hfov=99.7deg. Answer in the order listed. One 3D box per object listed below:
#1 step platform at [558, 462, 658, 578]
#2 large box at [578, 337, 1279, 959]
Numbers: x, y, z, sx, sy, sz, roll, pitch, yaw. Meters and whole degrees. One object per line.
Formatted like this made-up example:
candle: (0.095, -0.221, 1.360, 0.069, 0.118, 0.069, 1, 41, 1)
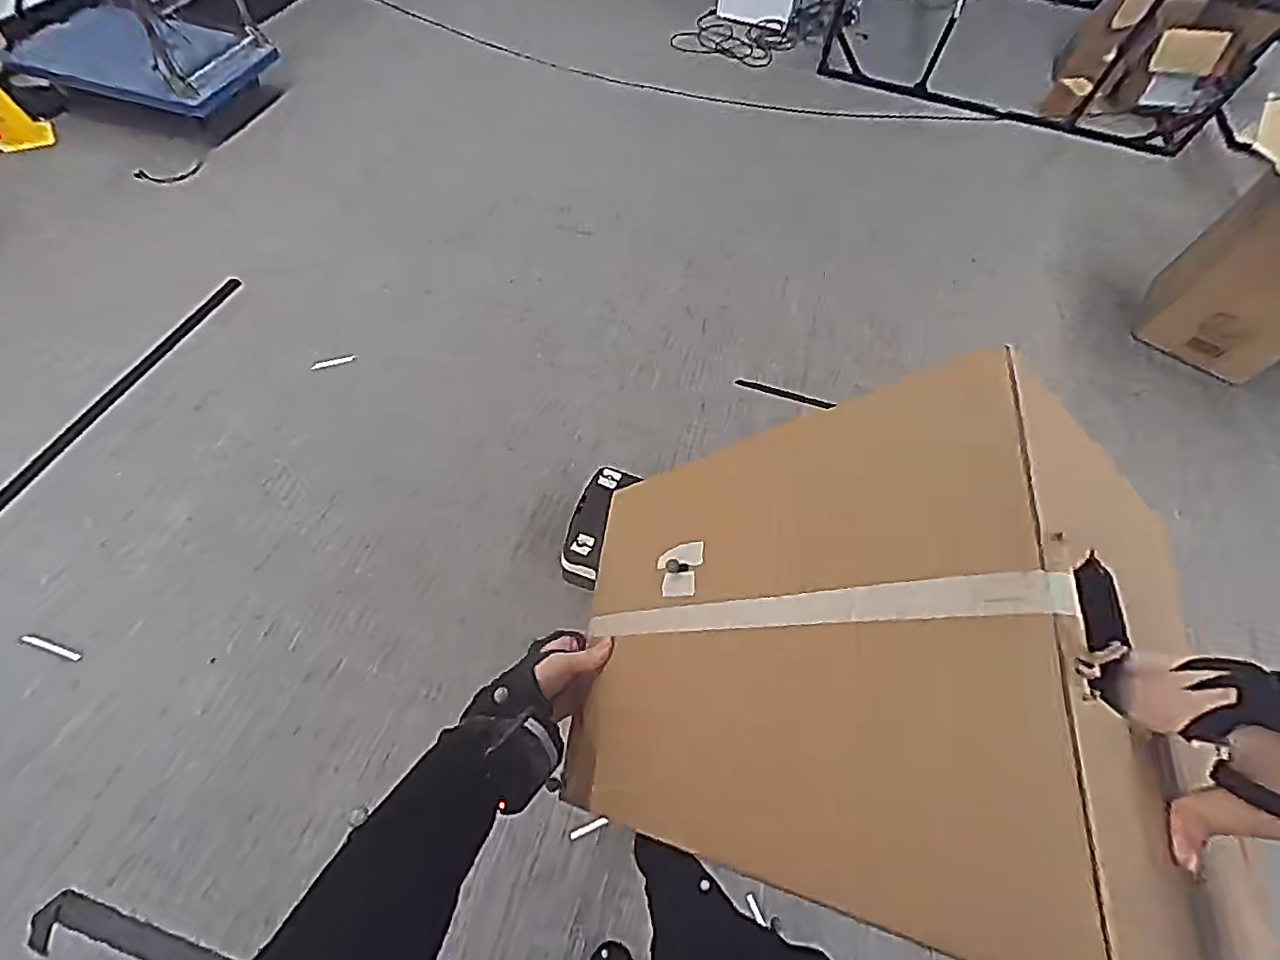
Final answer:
step platform: (0.132, 0.205, 1.430, 0.684, 0.204, 0.286, 22, 60, 9)
large box: (0.201, 0.152, 0.480, 0.320, 0.408, 0.320, 26, 60, -30)
